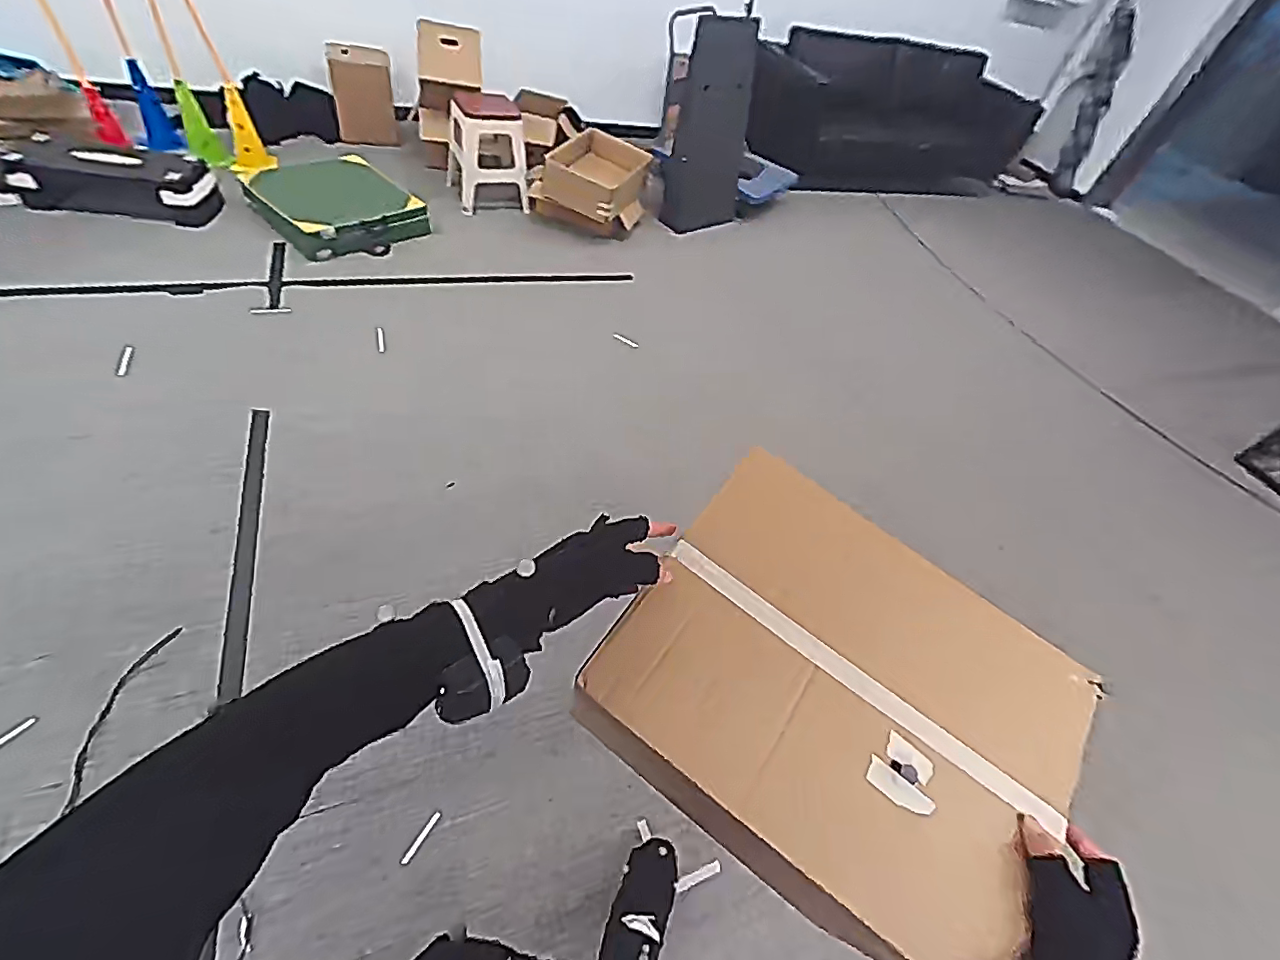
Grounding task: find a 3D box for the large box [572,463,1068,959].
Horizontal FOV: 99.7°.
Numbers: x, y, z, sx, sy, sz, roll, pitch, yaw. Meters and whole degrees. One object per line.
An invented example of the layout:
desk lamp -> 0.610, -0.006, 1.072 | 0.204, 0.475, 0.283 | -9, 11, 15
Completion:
large box -> 0.170, 0.258, 0.647 | 0.408, 0.320, 0.320 | 36, 64, 9
